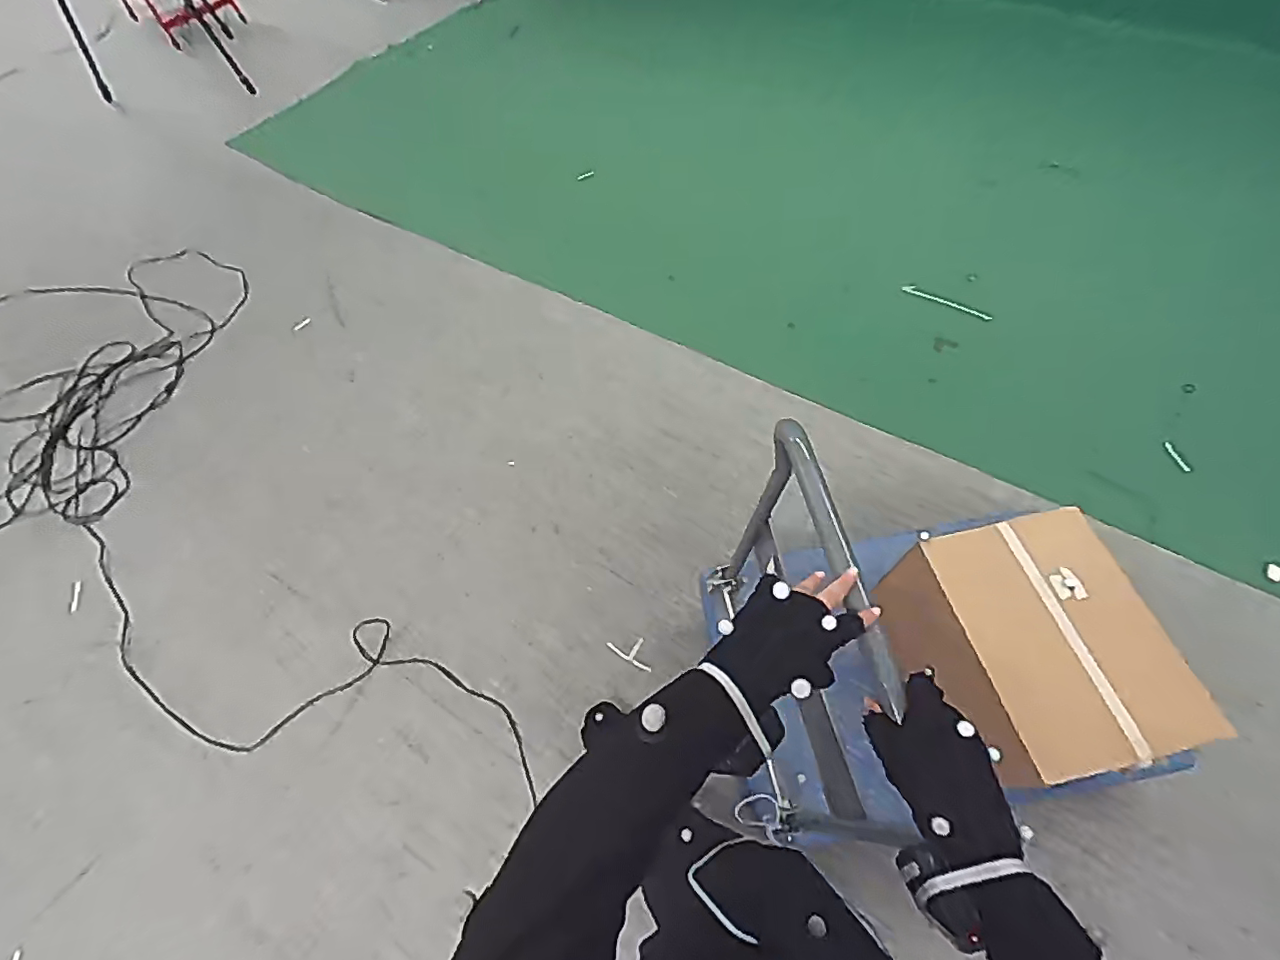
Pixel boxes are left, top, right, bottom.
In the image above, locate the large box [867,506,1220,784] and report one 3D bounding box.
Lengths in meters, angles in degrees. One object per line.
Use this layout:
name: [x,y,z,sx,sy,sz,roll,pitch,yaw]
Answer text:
large box: [0.704,0.322,1.040,0.320,0.320,0.408,-12,59,-4]
